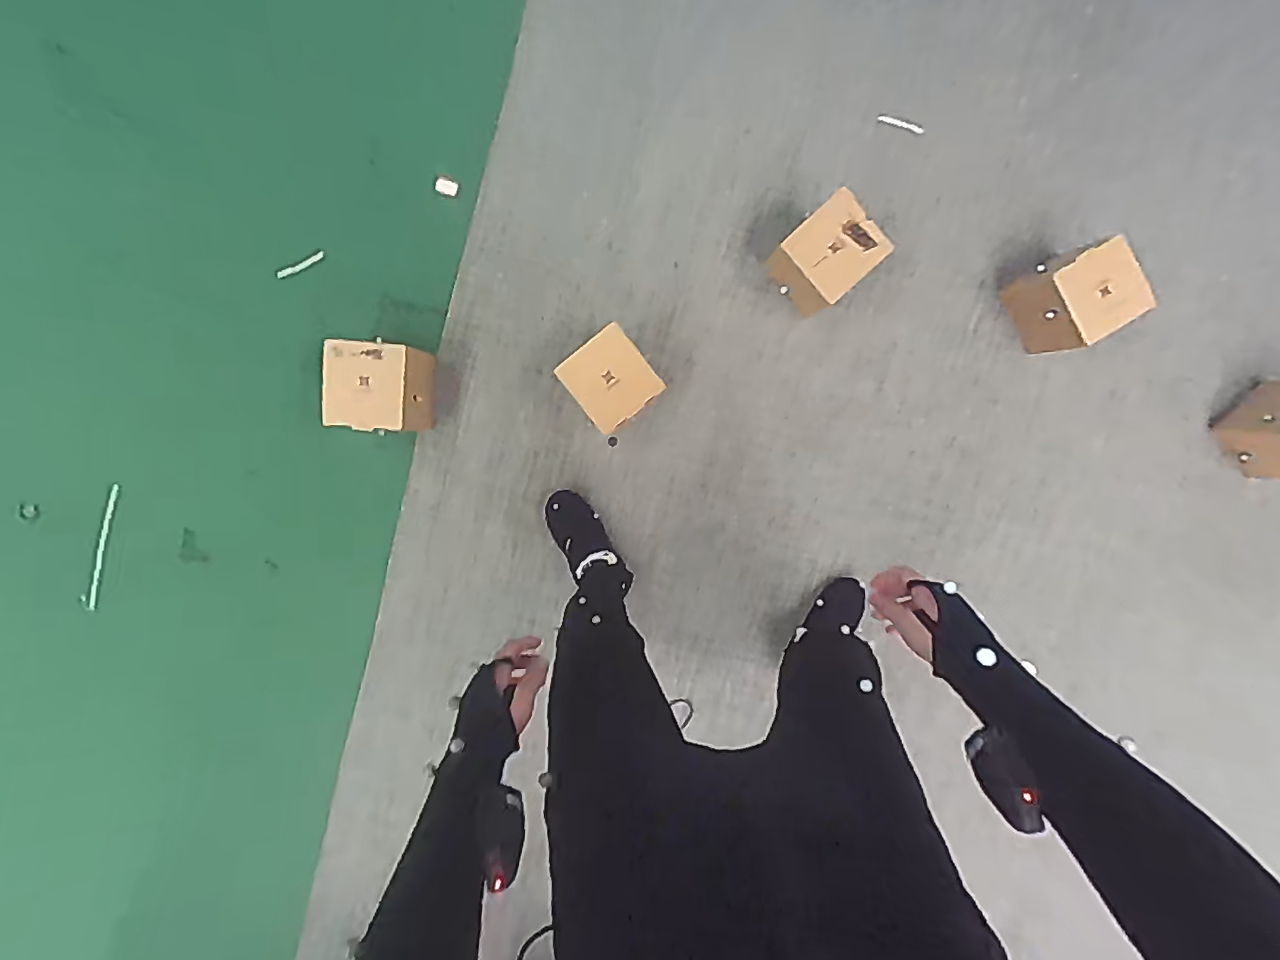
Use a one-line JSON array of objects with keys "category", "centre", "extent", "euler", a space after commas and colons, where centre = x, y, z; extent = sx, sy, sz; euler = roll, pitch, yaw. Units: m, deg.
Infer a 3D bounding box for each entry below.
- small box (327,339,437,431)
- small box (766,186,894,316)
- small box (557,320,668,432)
[{"category": "small box", "centre": [-0.555, -0.202, 1.182], "extent": [0.168, 0.176, 0.179], "euler": [5, 96, -2]}, {"category": "small box", "centre": [0.402, -0.486, 1.177], "extent": [0.179, 0.176, 0.168], "euler": [-42, 95, 4]}, {"category": "small box", "centre": [-0.060, -0.221, 1.195], "extent": [0.168, 0.176, 0.179], "euler": [-39, 97, 3]}]
